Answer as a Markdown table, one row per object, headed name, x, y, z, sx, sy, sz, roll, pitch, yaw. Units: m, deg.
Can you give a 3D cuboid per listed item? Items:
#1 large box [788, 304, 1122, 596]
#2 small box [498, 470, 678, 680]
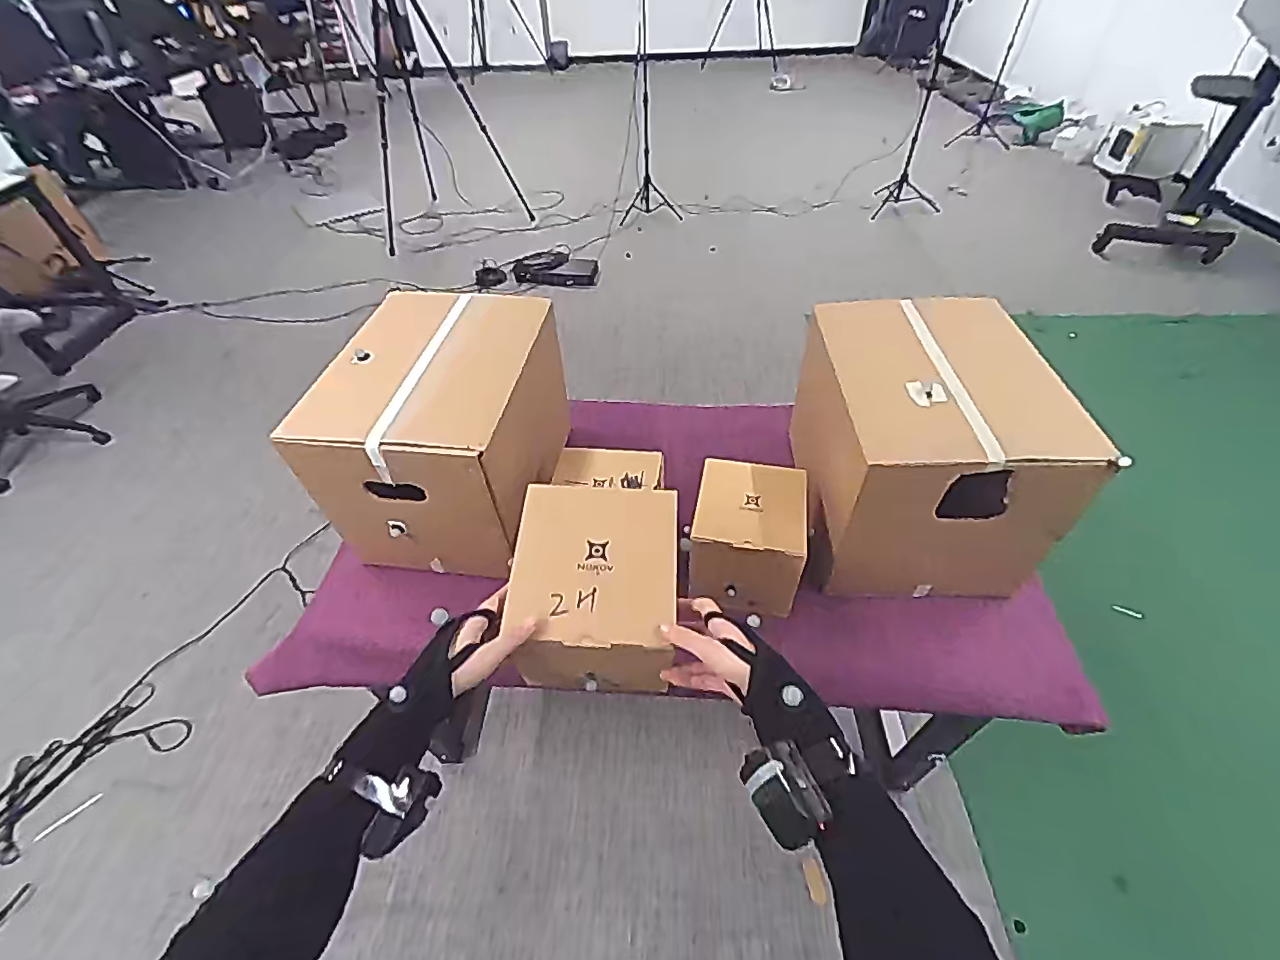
| name | x | y | z | sx | sy | sz | roll | pitch | yaw |
| --- | --- | --- | --- | --- | --- | --- | --- | --- | --- |
| large box | 0.455 | -0.056 | 0.915 | 0.320 | 0.320 | 0.408 | -1 | 47 | 5 |
| small box | -0.048 | 0.110 | 0.613 | 0.168 | 0.176 | 0.179 | 3 | 56 | 2 |
